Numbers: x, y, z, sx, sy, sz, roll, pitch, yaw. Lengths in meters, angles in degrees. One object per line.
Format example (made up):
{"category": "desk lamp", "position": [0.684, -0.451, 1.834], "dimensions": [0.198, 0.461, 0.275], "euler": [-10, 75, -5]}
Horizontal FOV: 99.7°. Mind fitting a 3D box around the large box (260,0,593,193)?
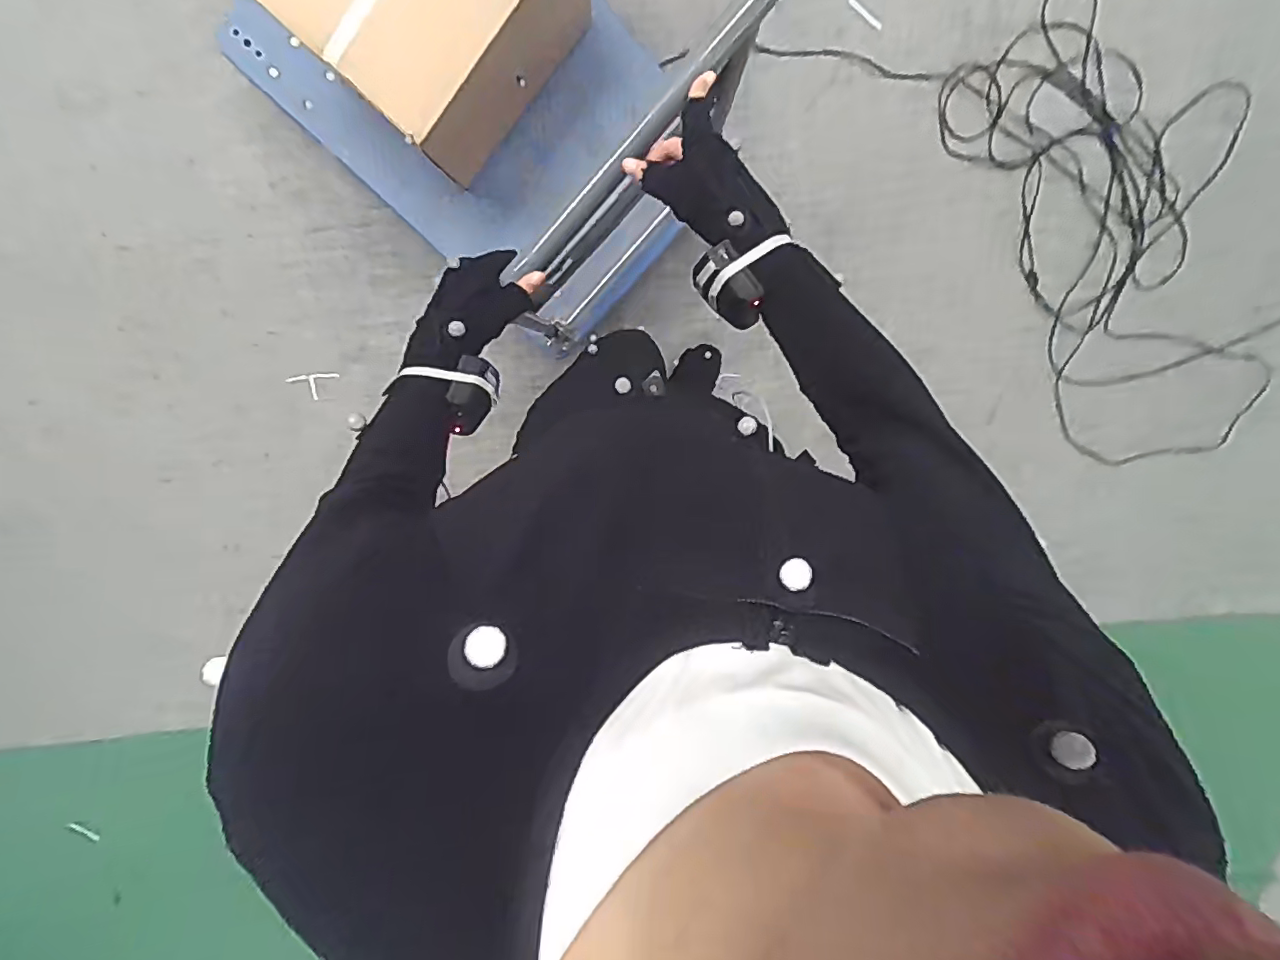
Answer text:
{"category": "large box", "position": [-0.318, -0.789, 0.917], "dimensions": [0.320, 0.320, 0.408], "euler": [39, 101, -12]}
